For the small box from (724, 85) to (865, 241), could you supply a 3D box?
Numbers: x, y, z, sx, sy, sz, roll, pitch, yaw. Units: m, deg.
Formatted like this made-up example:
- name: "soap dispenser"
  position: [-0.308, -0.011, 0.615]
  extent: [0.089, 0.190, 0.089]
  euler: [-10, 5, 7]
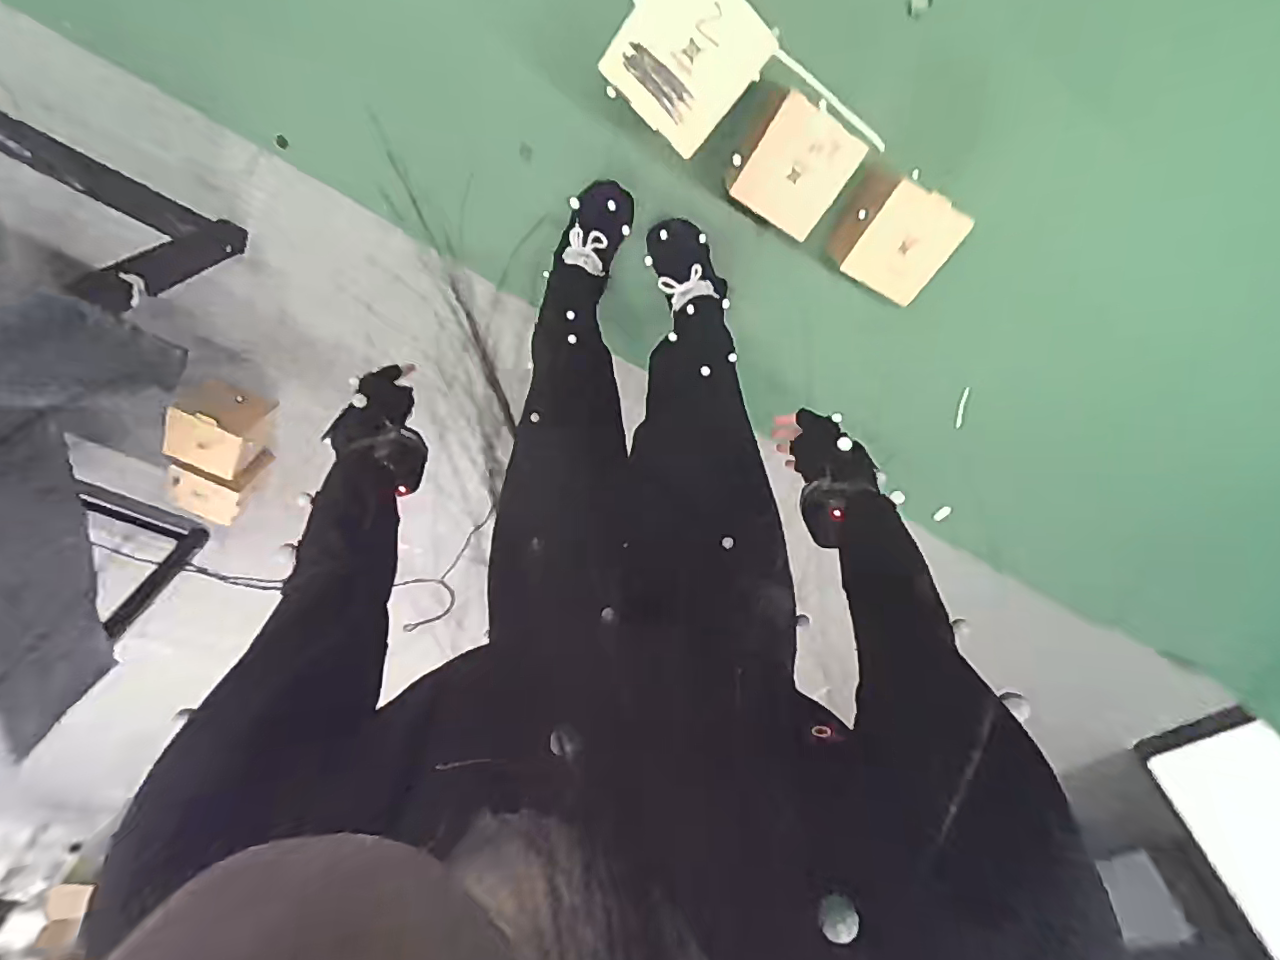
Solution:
- name: "small box"
  position: [0.265, -0.573, 0.976]
  extent: [0.168, 0.176, 0.179]
  euler: [25, 125, -17]

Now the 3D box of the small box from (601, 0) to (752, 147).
- name: "small box"
  position: [0.056, -0.695, 0.886]
  extent: [0.168, 0.176, 0.179]
  euler: [37, 123, -24]

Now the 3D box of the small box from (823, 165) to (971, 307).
- name: "small box"
  position: [0.482, -0.477, 1.048]
  extent: [0.168, 0.176, 0.179]
  euler: [23, 127, -15]
